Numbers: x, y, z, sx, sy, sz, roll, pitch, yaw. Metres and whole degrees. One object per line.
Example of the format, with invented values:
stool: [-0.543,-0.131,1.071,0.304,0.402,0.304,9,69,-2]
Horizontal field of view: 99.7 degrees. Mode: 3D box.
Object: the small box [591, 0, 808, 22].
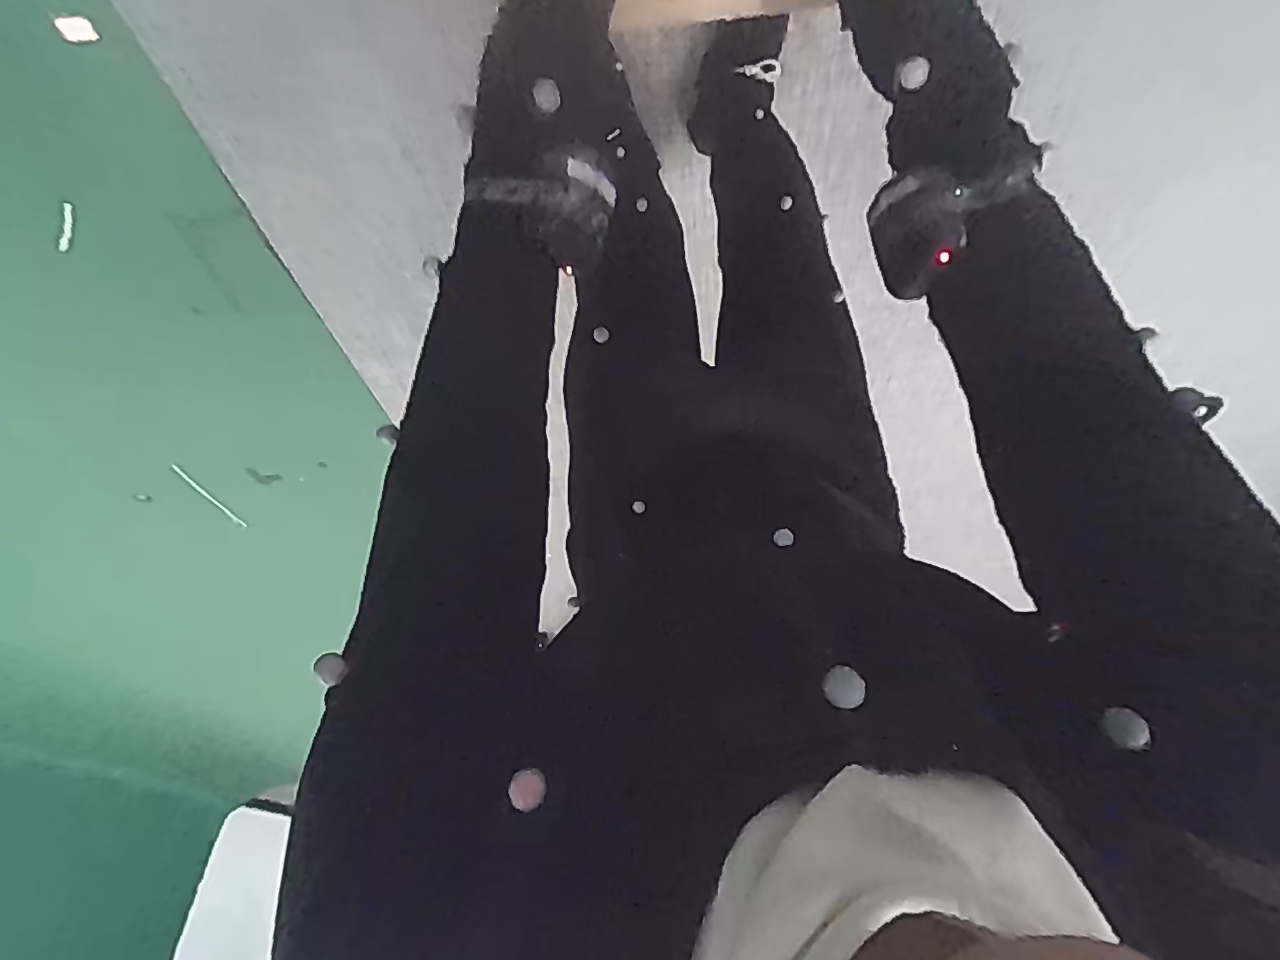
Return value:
small box: [0.044,-0.448,0.369,0.179,0.176,0.168,-4,143,3]
